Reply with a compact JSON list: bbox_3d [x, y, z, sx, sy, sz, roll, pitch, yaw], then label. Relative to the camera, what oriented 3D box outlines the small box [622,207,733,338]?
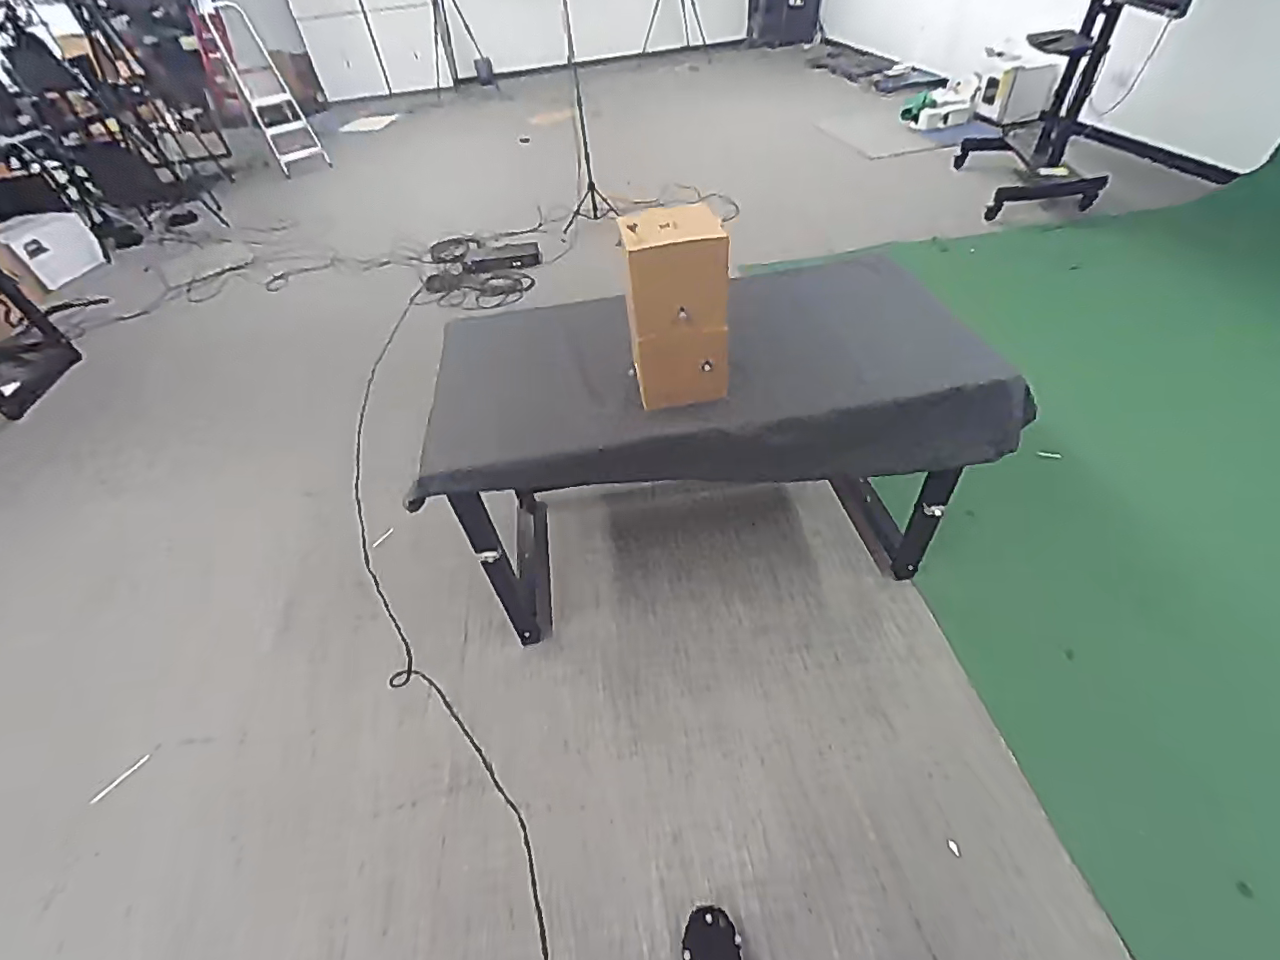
[{"bbox_3d":[0.067,-0.386,1.014,0.179,0.176,0.168,-9,44,-2],"label":"small box"}]

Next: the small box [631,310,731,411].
[{"bbox_3d":[0.084,-0.266,1.122,0.179,0.176,0.168,-11,44,-1],"label":"small box"}]
